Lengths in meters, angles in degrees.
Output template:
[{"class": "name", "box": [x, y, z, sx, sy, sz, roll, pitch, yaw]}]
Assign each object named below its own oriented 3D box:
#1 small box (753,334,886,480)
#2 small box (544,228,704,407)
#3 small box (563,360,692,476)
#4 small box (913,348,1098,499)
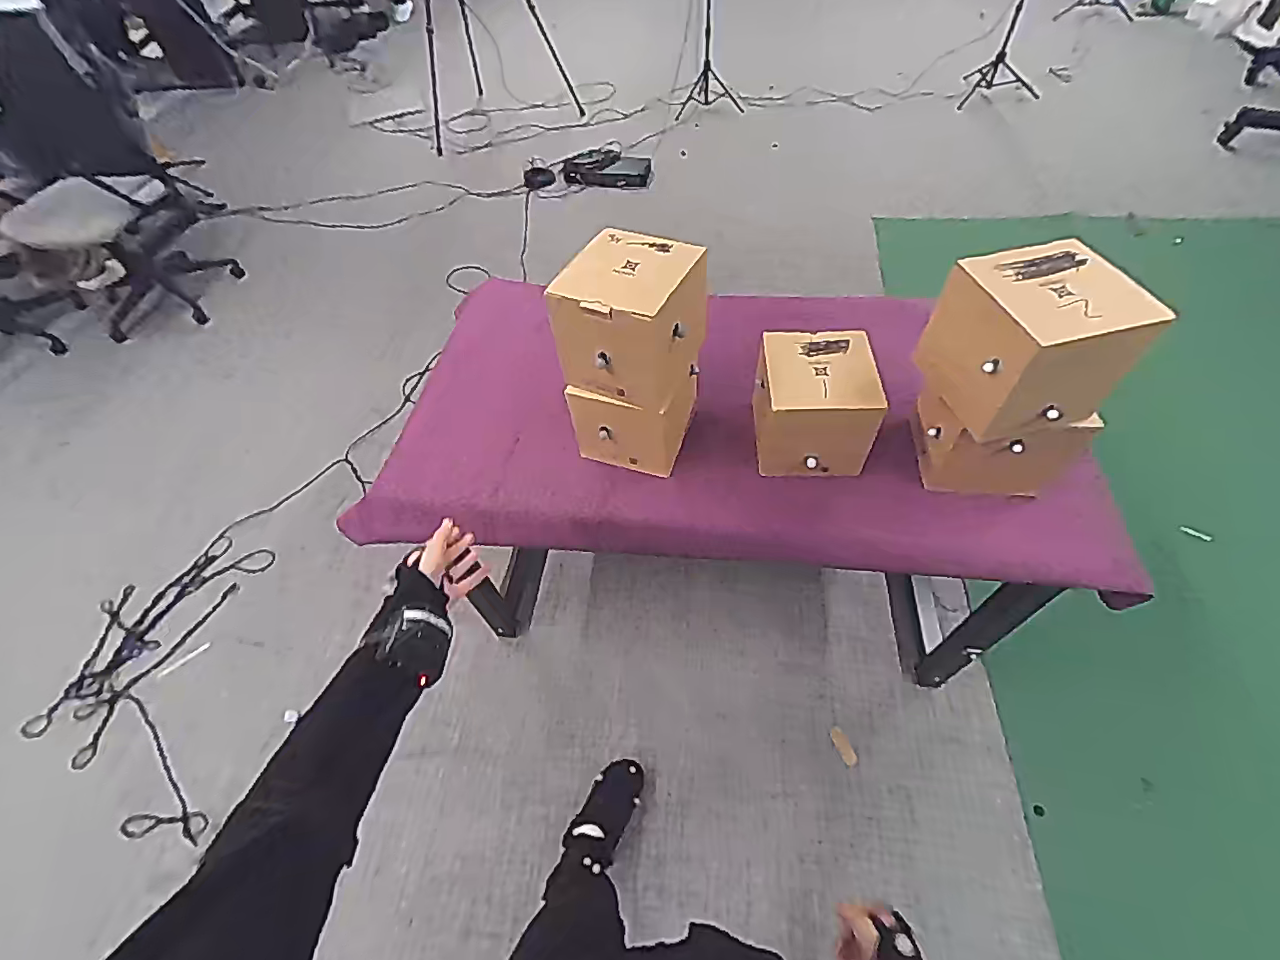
[{"class": "small box", "box": [0.280, -0.120, 0.890, 0.168, 0.176, 0.179, 0, 54, 5]}, {"class": "small box", "box": [-0.013, -0.235, 0.796, 0.168, 0.176, 0.179, 21, 58, 19]}, {"class": "small box", "box": [-0.009, -0.132, 0.924, 0.168, 0.176, 0.179, 15, 55, 15]}, {"class": "small box", "box": [0.545, -0.085, 0.843, 0.179, 0.176, 0.168, 5, 53, 8]}]
